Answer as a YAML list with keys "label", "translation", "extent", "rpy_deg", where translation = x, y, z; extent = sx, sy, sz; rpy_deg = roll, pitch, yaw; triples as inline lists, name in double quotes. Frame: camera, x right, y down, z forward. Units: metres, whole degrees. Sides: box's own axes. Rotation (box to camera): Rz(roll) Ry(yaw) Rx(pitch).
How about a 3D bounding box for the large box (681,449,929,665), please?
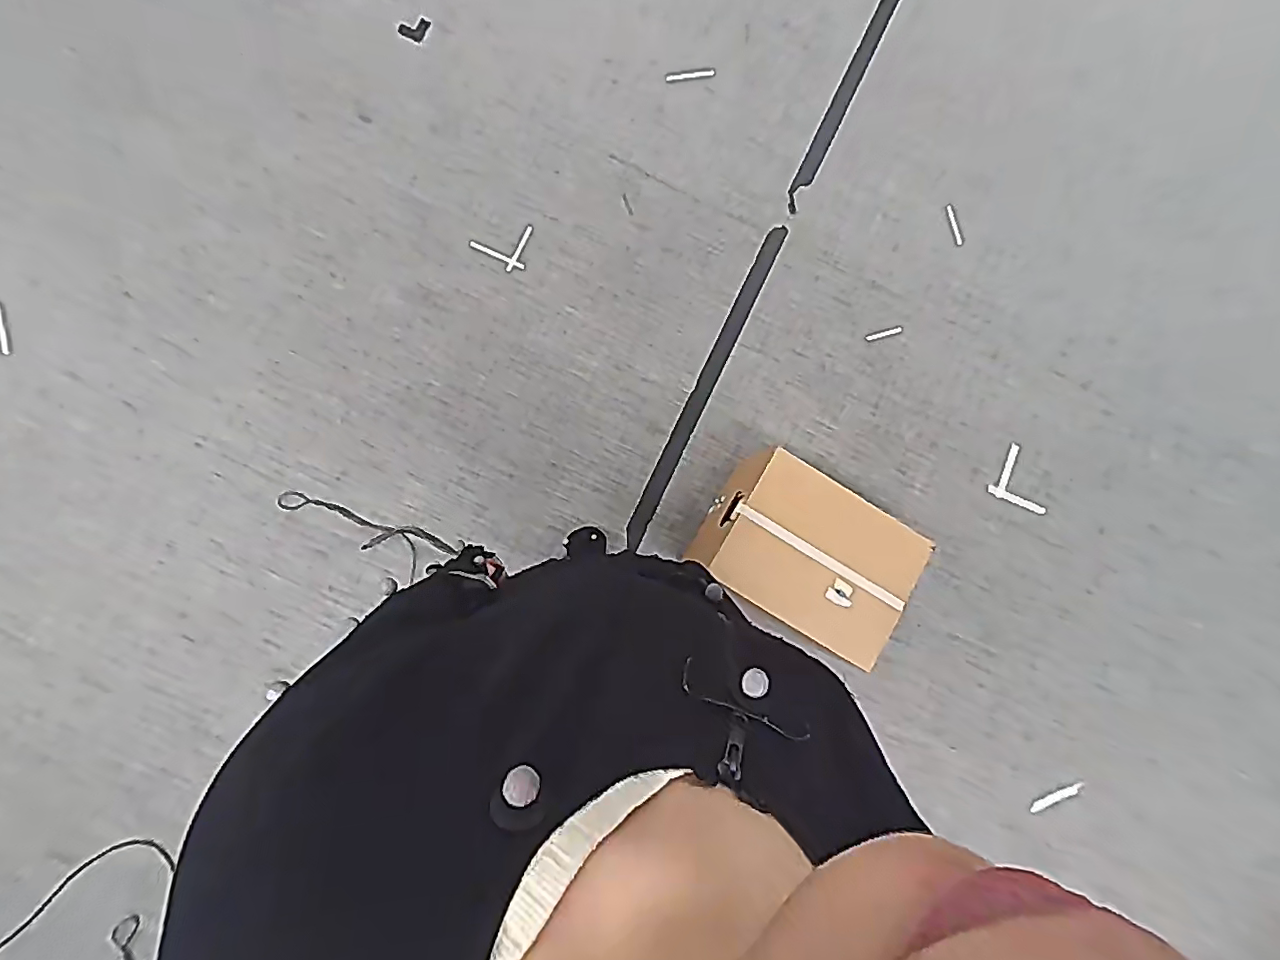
- label: "large box"
  translation: [0.363, 0.172, 1.281]
  extent: [0.408, 0.320, 0.320]
  rpy_deg: [31, 83, -3]
